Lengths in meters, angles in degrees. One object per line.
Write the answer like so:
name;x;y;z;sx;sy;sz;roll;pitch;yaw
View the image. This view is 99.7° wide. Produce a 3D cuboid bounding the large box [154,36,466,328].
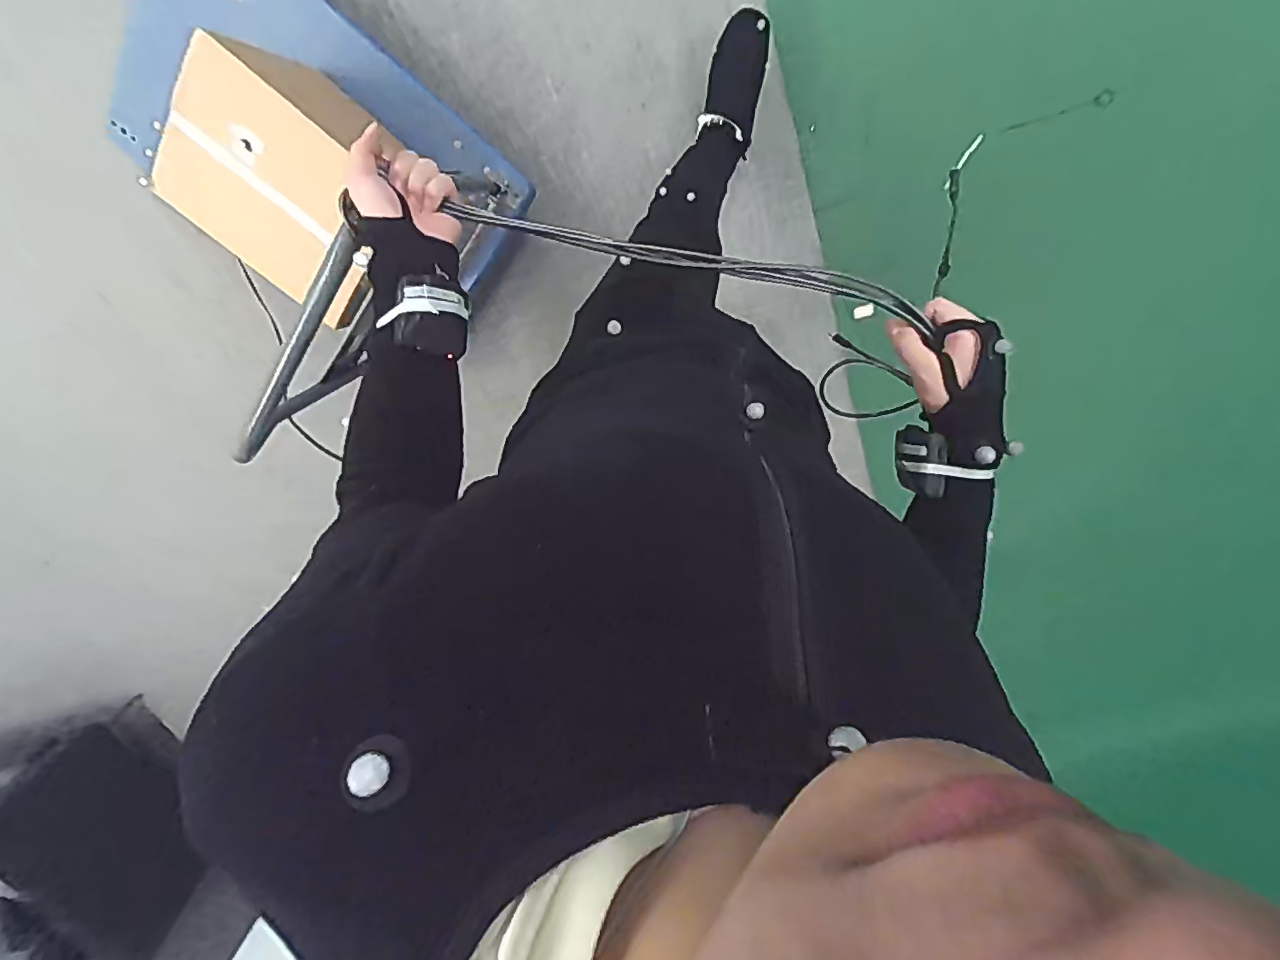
large box;-0.655;-0.586;1.130;0.408;0.320;0.320;39;114;-11
